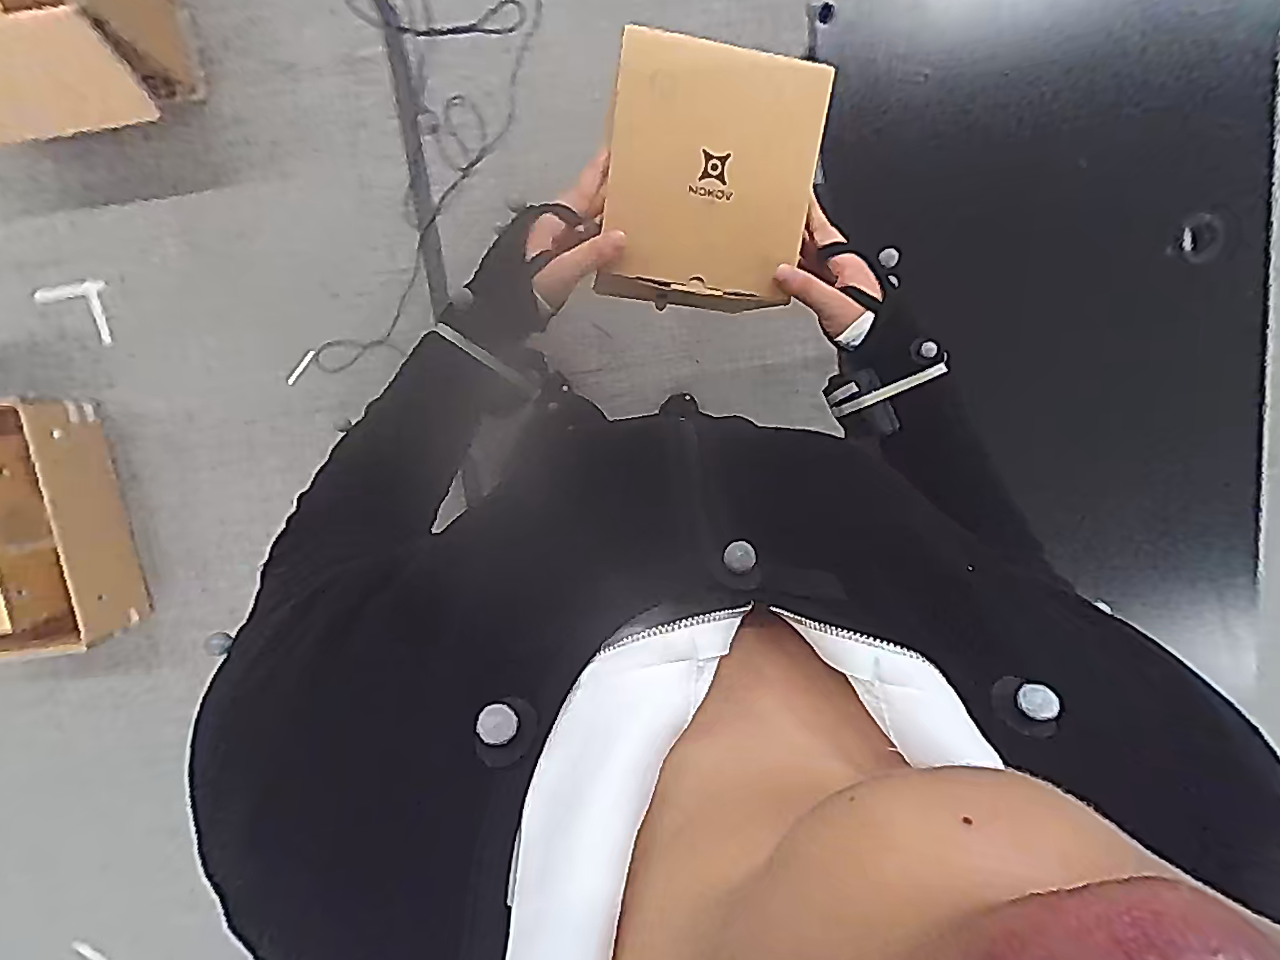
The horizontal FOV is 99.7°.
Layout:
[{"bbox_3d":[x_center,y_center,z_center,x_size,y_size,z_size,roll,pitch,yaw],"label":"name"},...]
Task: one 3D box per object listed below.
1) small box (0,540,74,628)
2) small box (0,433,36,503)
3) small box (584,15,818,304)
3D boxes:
[{"bbox_3d":[-1.584,0.260,1.347,0.168,0.176,0.179,-7,97,-3],"label":"small box"},{"bbox_3d":[-1.627,-0.022,1.301,0.179,0.176,0.168,-4,100,-4],"label":"small box"},{"bbox_3d":[0.038,-0.266,0.497,0.168,0.176,0.179,5,105,-7],"label":"small box"}]
